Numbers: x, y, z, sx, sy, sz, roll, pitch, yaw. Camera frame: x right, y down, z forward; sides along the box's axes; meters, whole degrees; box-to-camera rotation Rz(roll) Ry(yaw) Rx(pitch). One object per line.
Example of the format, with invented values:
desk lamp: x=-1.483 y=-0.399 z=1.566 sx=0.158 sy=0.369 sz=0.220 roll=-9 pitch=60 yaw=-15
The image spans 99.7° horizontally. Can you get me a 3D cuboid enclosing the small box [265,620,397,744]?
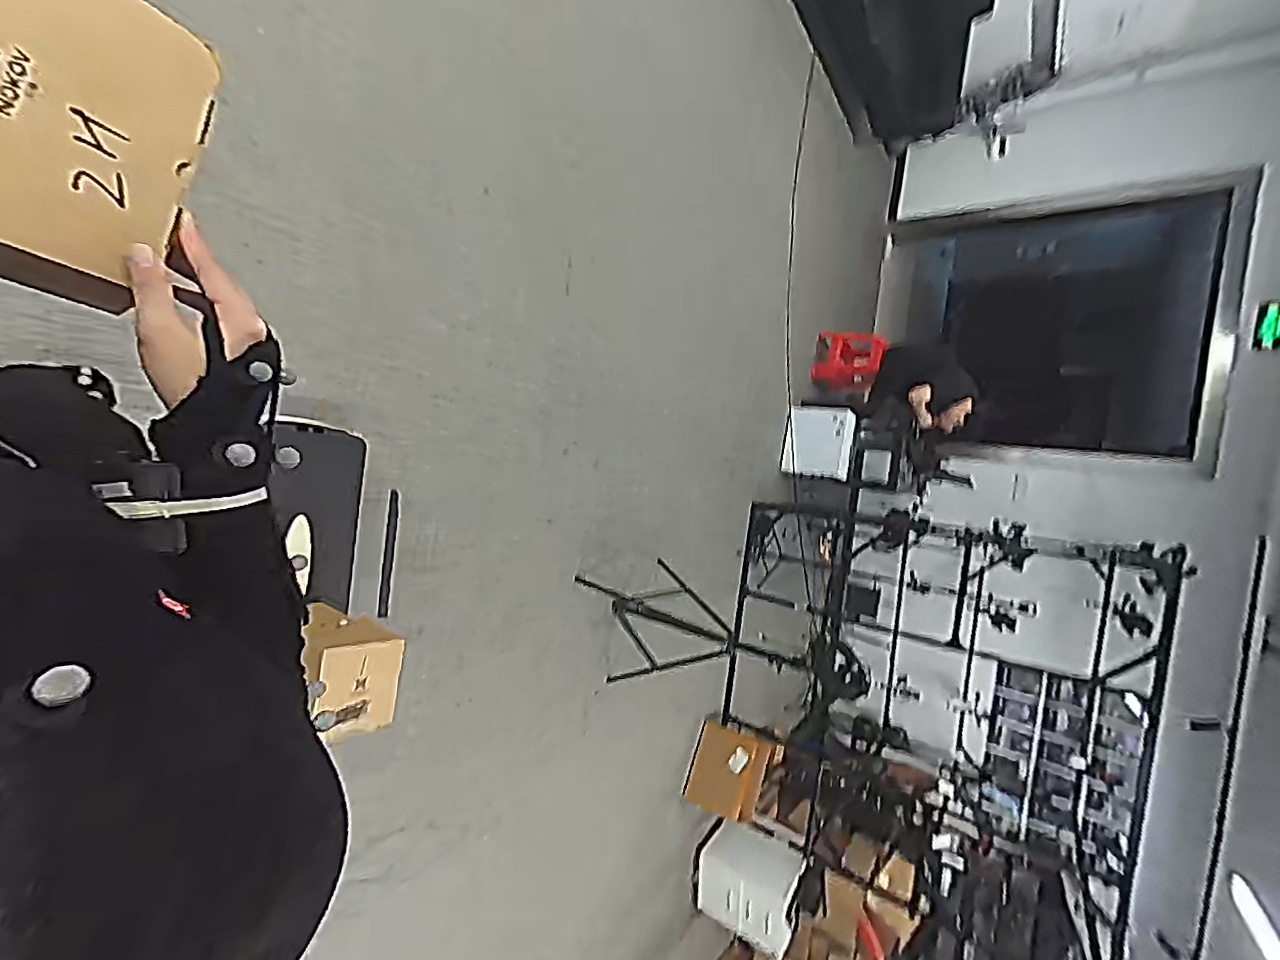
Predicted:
small box: x=-0.625 y=0.396 z=1.090 sx=0.168 sy=0.176 sz=0.179 roll=13 pitch=85 yaw=-55

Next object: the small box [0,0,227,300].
small box: x=-0.397 y=-0.222 z=0.327 sx=0.179 sy=0.176 sz=0.168 roll=18 pitch=84 yaw=-51
